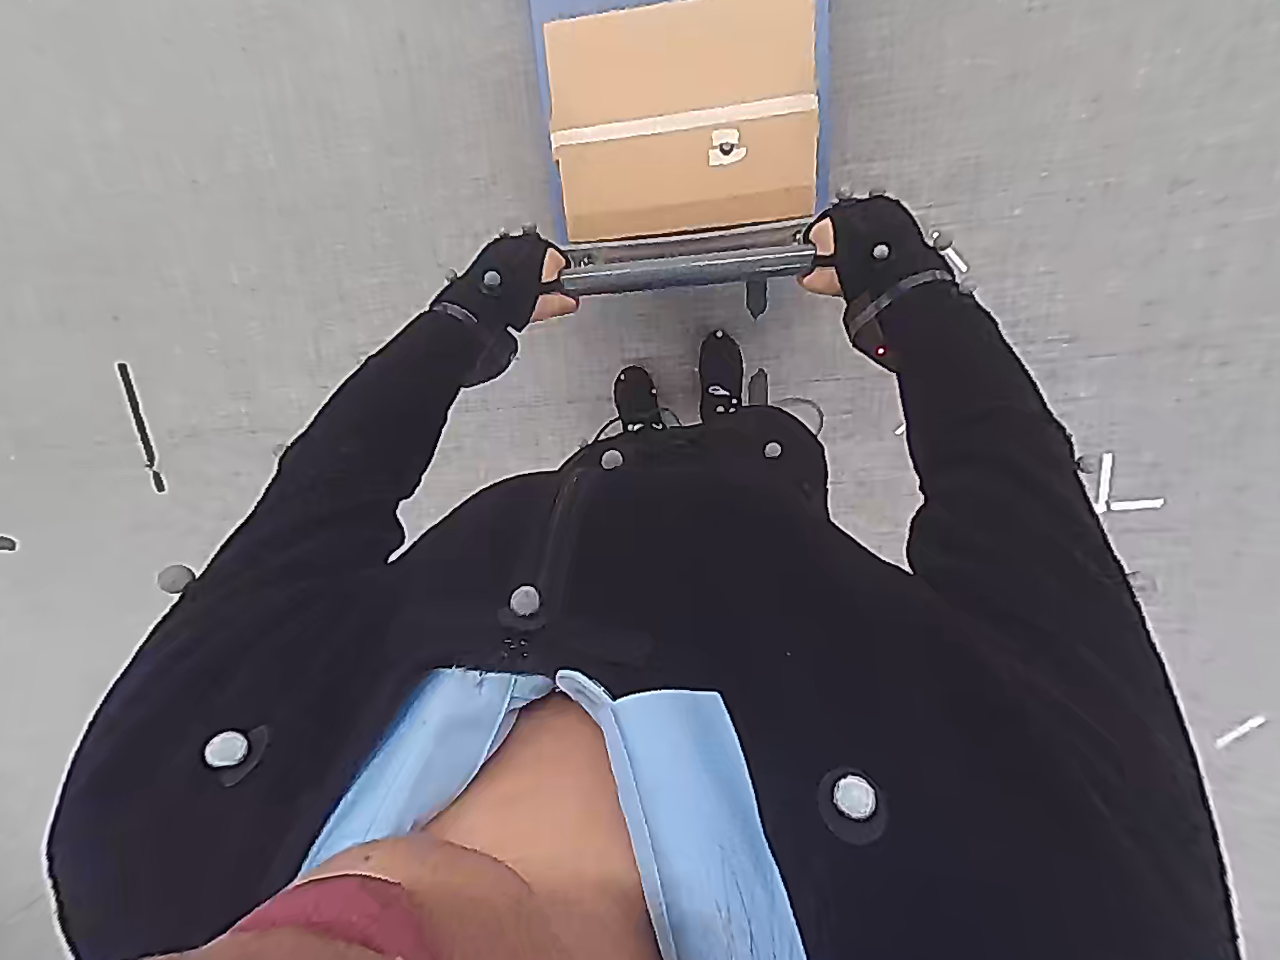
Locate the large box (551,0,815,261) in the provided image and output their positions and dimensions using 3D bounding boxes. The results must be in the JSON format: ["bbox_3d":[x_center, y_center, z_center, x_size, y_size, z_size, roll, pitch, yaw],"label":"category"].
[{"bbox_3d":[0.083,-0.606,0.999,0.408,0.320,0.320,-4,107,6],"label":"large box"}]
